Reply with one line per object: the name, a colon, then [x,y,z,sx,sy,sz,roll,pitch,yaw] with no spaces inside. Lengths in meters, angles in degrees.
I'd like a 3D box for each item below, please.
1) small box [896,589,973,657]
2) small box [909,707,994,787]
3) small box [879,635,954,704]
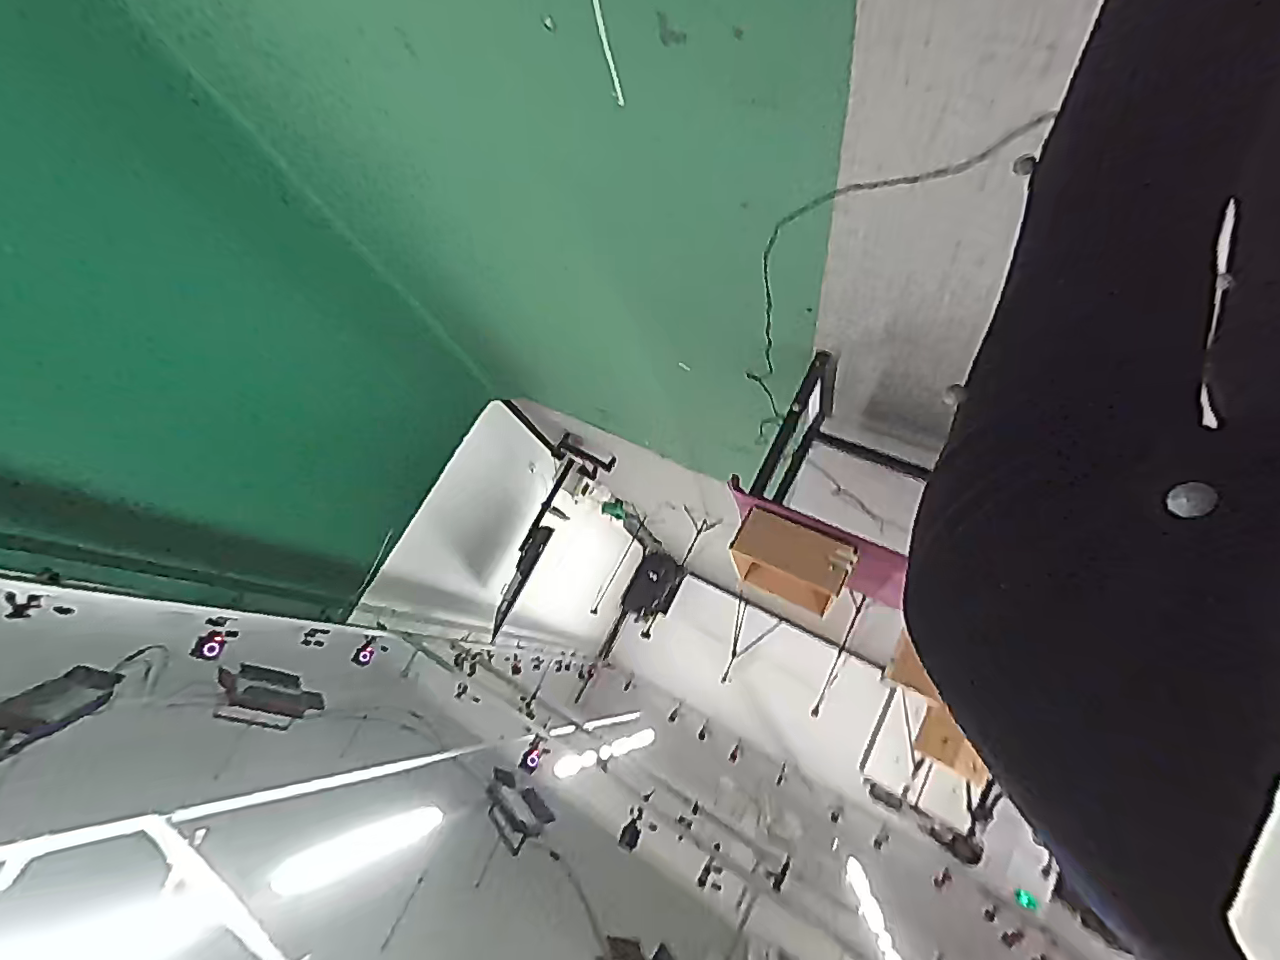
small box: [1.008,0.493,1.854,0.179,0.176,0.168,24,167,24]
small box: [1.086,0.920,1.881,0.179,0.176,0.168,34,166,-18]
small box: [0.934,0.636,1.825,0.168,0.176,0.179,24,167,23]
